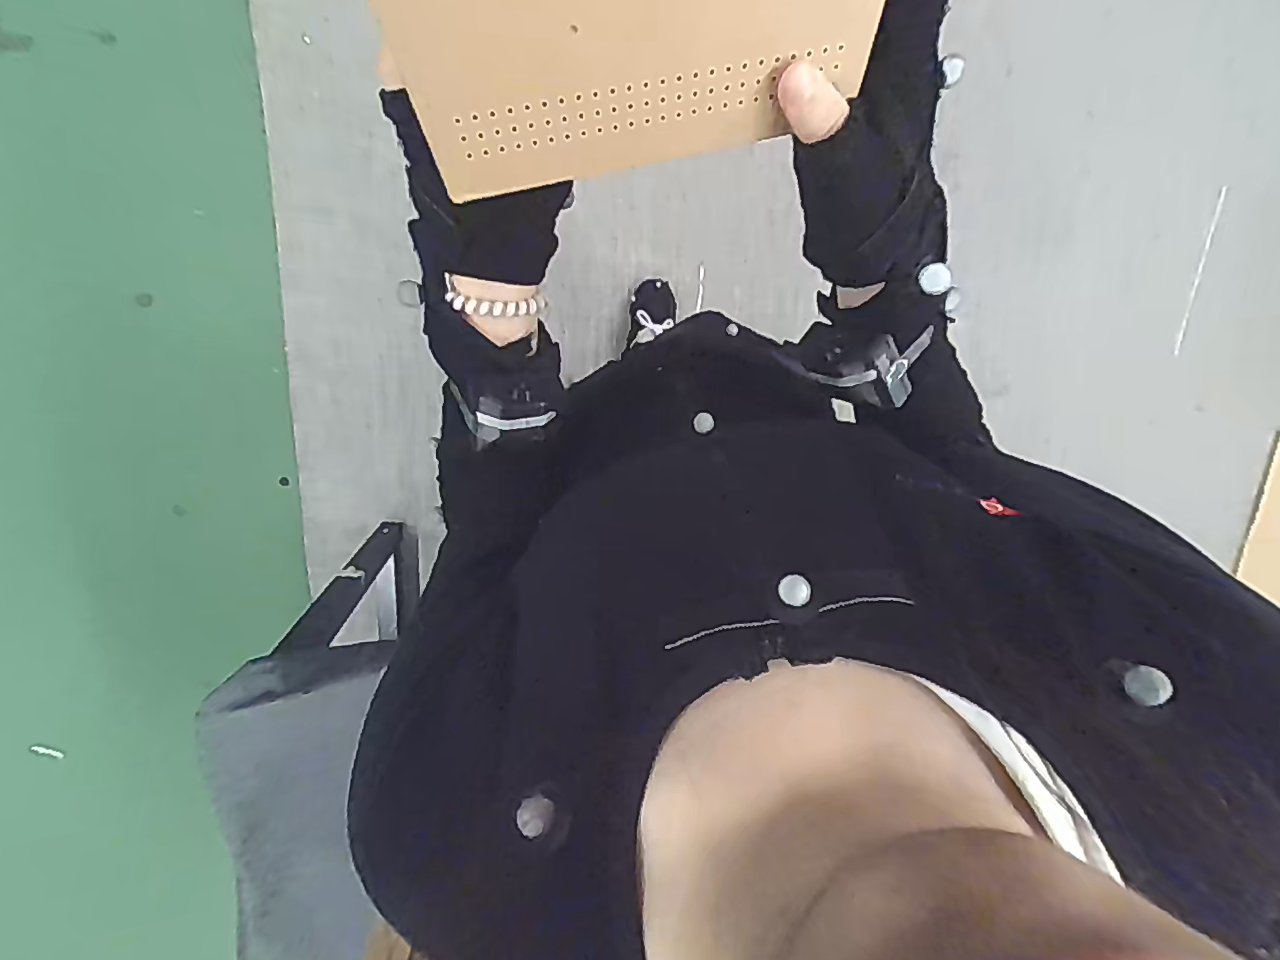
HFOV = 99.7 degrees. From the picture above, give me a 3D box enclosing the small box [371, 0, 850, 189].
[{"bbox_3d":[-0.019,-0.243,0.196,0.179,0.176,0.168,-14,63,-3],"label":"small box"}]
